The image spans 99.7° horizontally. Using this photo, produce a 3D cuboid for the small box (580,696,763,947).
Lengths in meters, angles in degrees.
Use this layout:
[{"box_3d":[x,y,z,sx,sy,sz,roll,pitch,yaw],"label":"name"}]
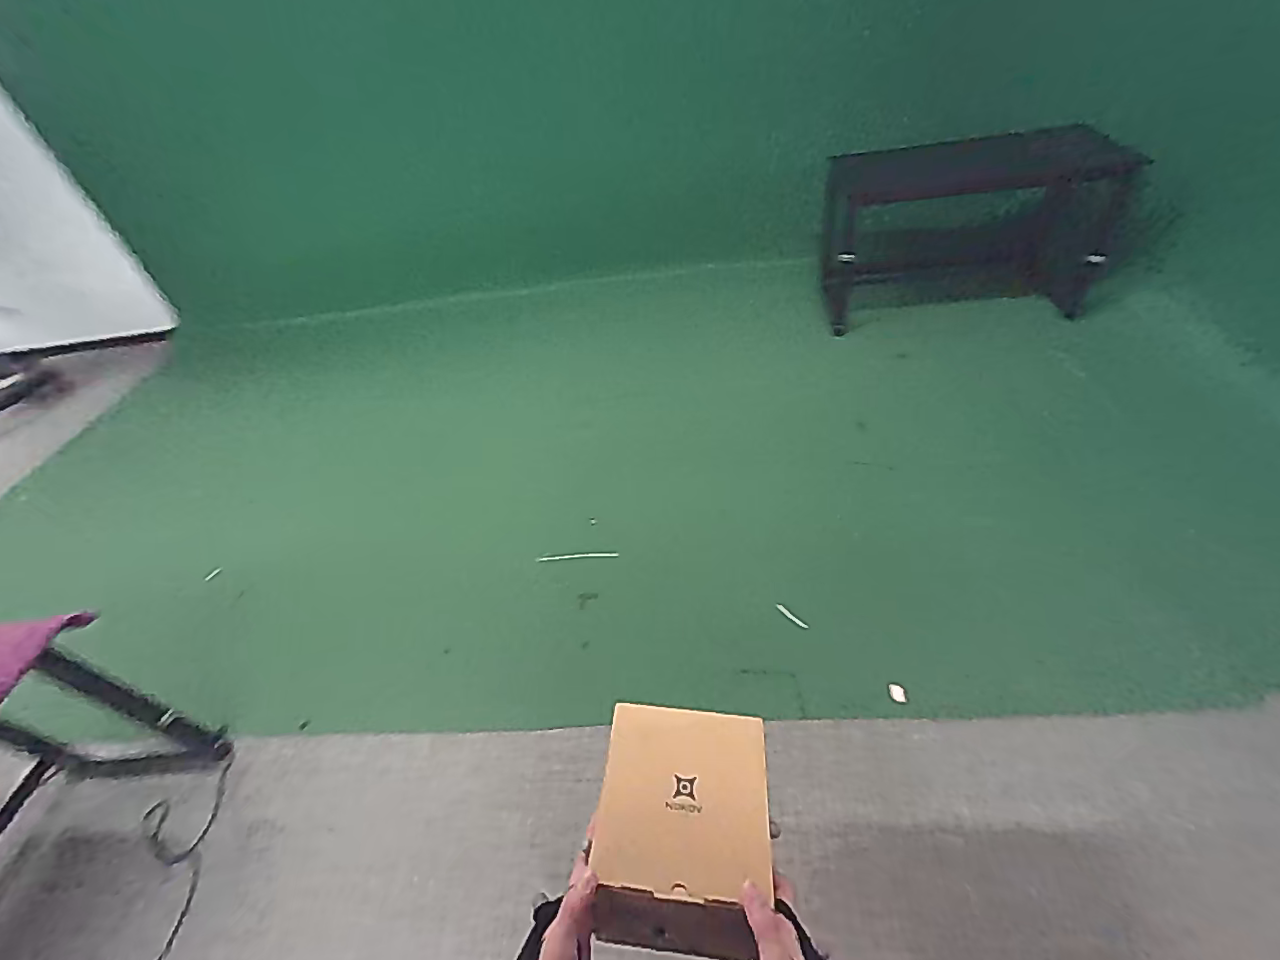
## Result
[{"box_3d":[0.034,0.365,0.586,0.168,0.176,0.179,4,39,4],"label":"small box"}]
